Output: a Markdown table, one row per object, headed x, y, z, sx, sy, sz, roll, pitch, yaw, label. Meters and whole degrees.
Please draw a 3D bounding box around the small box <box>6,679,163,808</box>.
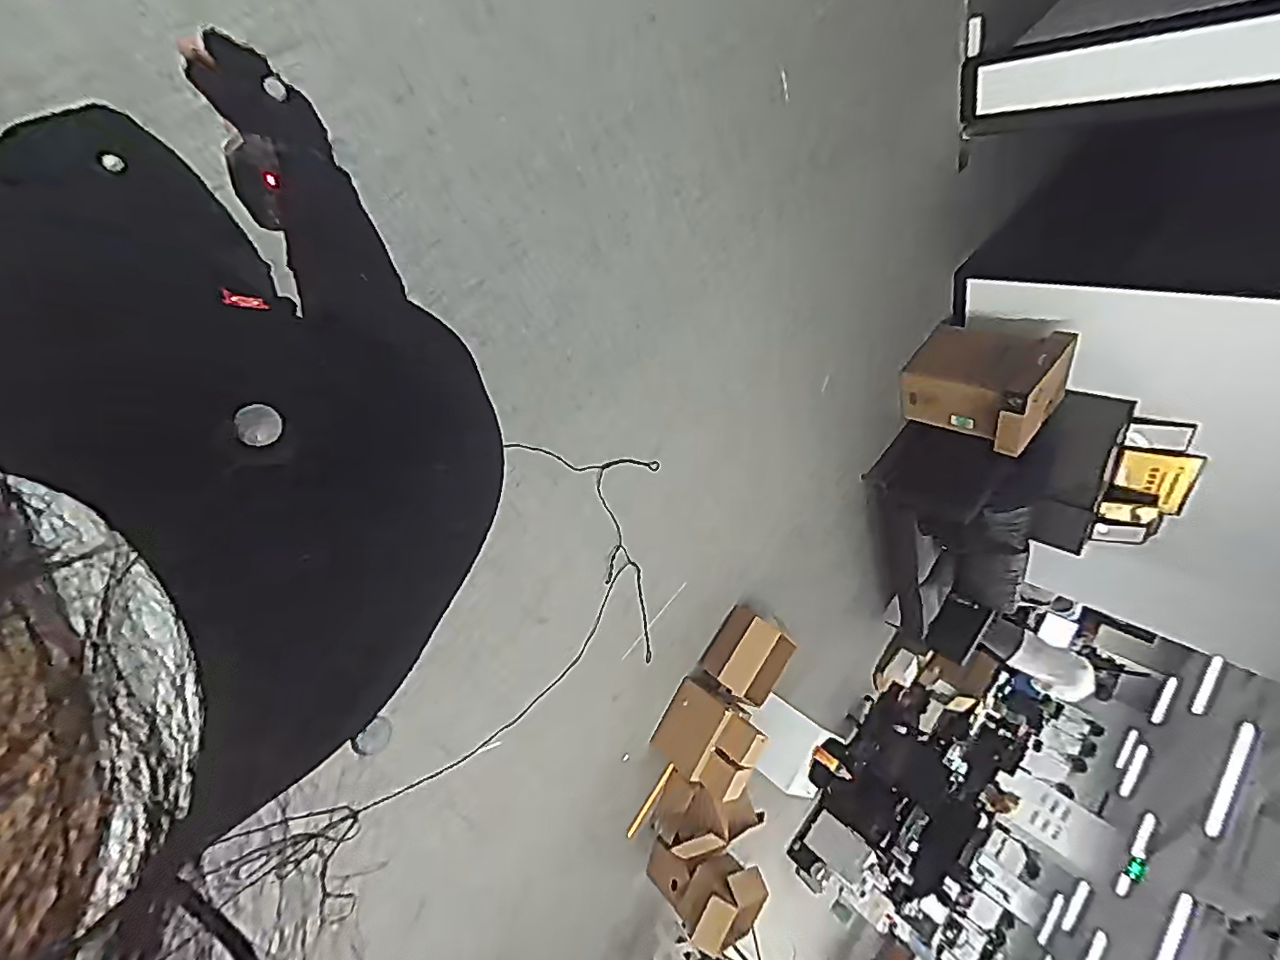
| x | y | z | sx | sy | sz | roll | pitch | yaw | label |
| --- | --- | --- | --- | --- | --- | --- | --- | --- | --- |
| -1.206 | 0.569 | 1.182 | 0.179 | 0.176 | 0.168 | -49 | 137 | -15 | small box |
